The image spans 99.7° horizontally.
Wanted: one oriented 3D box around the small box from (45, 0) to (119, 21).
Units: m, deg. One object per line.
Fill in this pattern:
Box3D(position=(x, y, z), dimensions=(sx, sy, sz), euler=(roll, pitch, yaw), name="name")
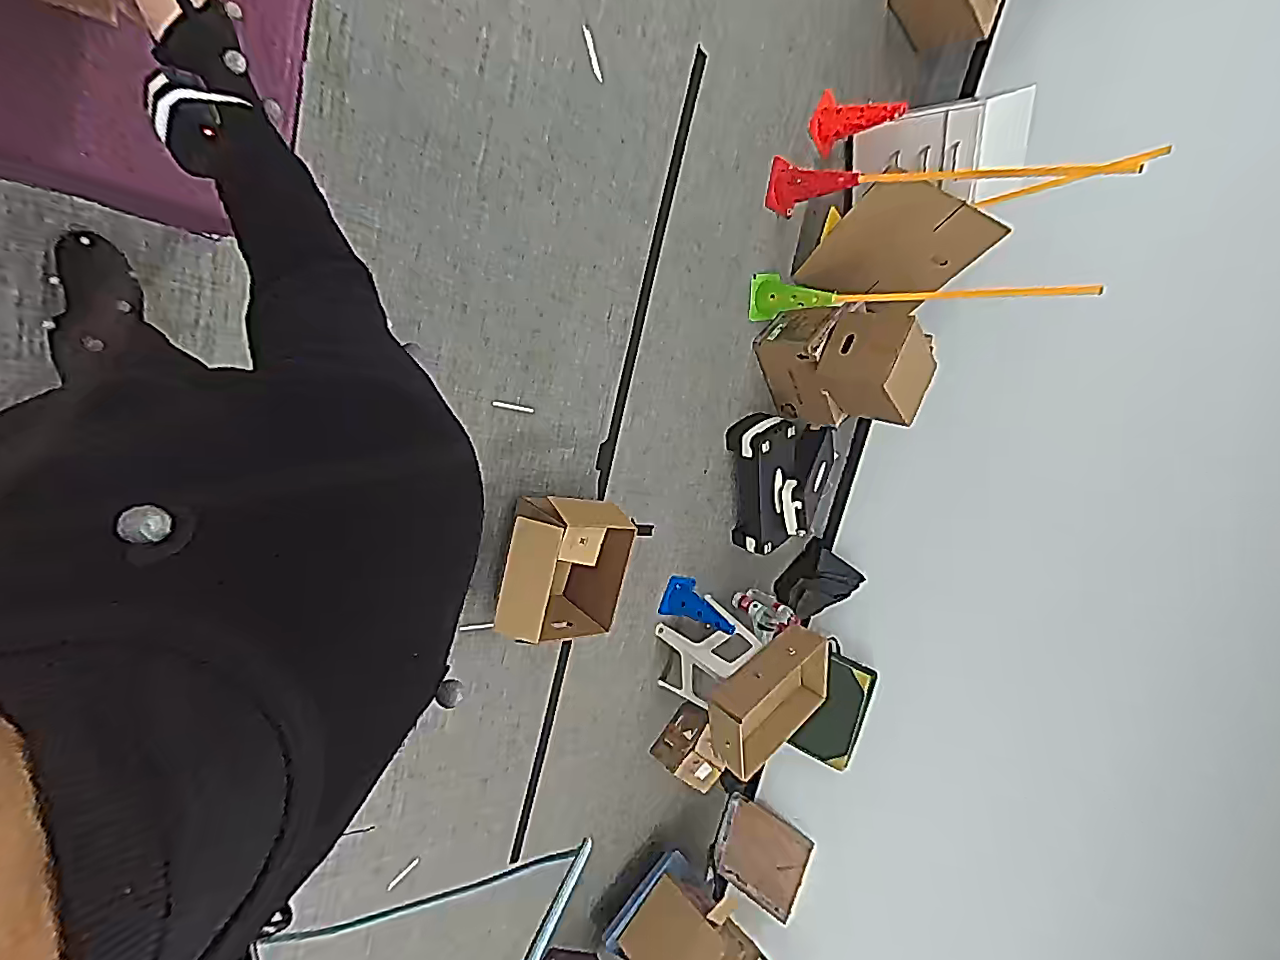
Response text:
Box3D(position=(-0.524, -0.510, 0.417), dimensions=(0.168, 0.176, 0.179), euler=(-4, 109, -42), name="small box")
